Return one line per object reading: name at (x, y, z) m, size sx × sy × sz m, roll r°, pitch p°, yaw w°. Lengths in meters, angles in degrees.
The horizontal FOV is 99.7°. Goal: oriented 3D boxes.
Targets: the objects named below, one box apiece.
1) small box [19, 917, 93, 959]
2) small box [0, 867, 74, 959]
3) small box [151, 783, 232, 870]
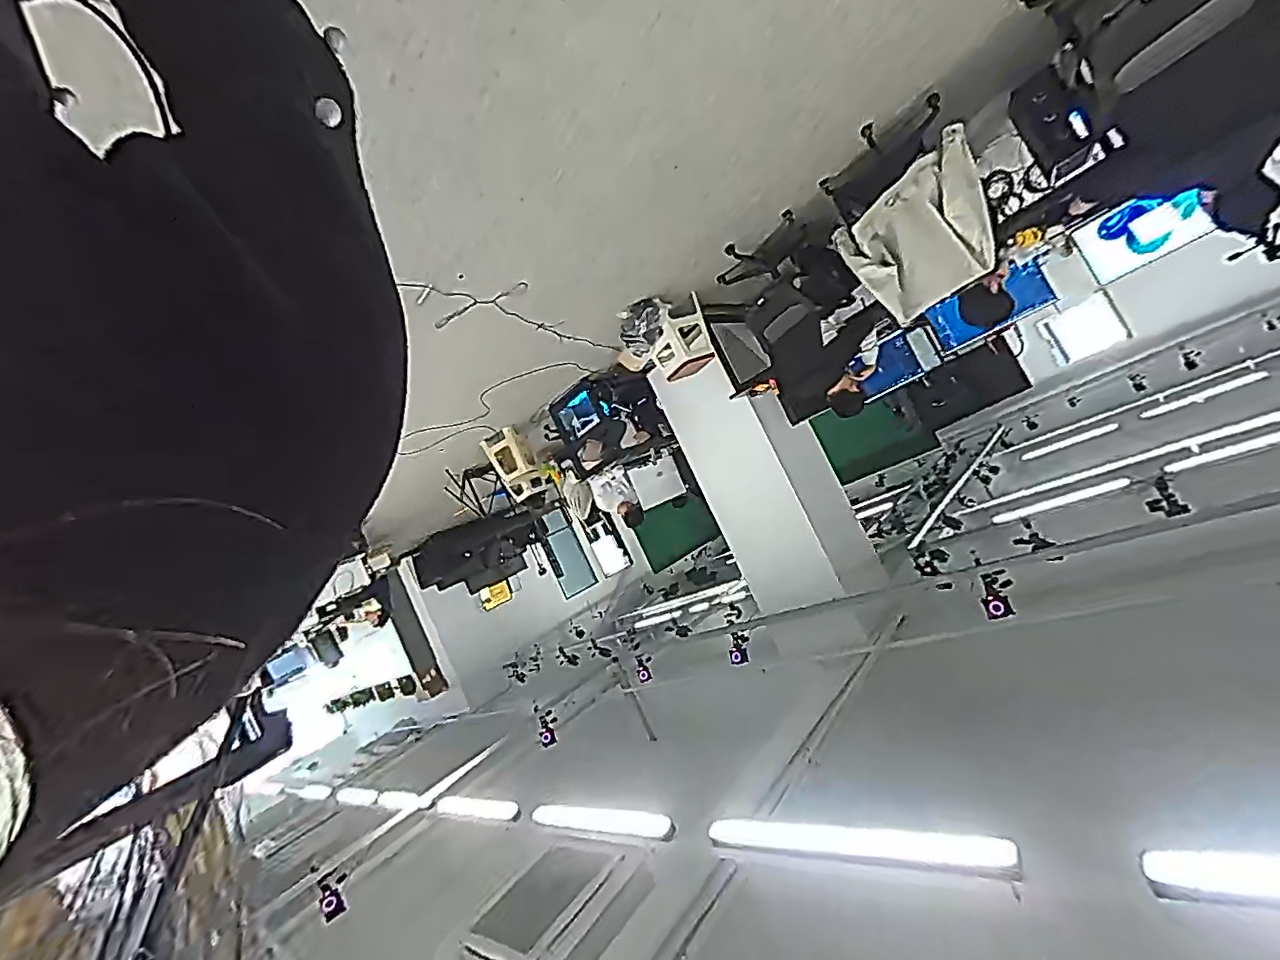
small box at (-1.689, 1.397, 1.530) m, size 0.168 × 0.176 × 0.179 m, roll -26°, pitch 178°, yaw 38°
small box at (-1.765, 1.251, 1.544) m, size 0.179 × 0.176 × 0.168 m, roll -26°, pitch 176°, yaw 39°
small box at (-1.510, 1.154, 1.814) m, size 0.179 × 0.176 × 0.168 m, roll -21°, pitch 176°, yaw -44°
